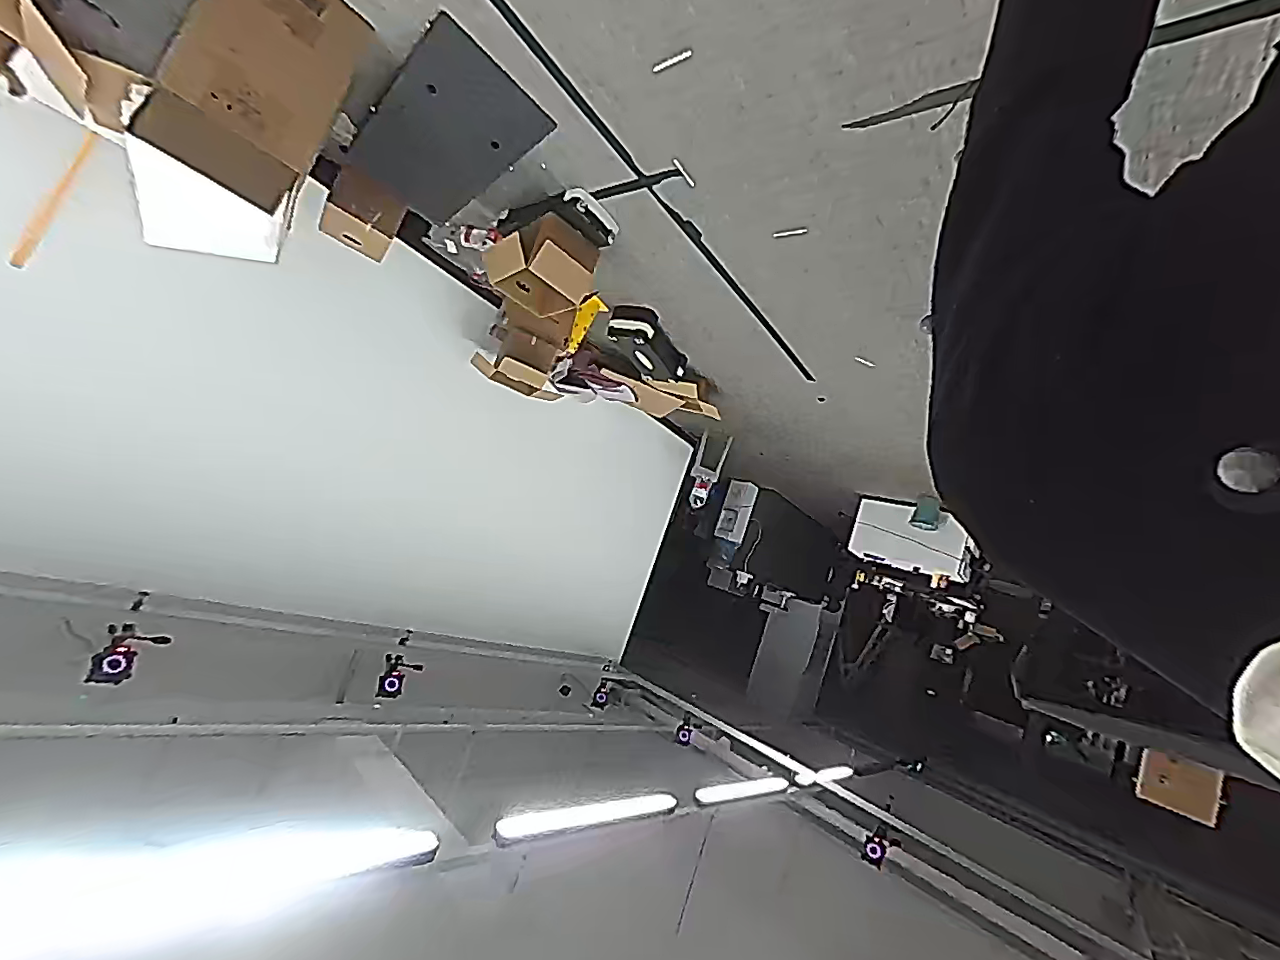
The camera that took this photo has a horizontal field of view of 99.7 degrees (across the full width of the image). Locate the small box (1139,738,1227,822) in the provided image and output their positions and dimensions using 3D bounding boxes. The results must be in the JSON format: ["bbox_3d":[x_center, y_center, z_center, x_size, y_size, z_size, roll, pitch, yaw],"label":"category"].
[{"bbox_3d":[1.655,0.906,1.651,0.168,0.176,0.179,12,169,44],"label":"small box"}]
